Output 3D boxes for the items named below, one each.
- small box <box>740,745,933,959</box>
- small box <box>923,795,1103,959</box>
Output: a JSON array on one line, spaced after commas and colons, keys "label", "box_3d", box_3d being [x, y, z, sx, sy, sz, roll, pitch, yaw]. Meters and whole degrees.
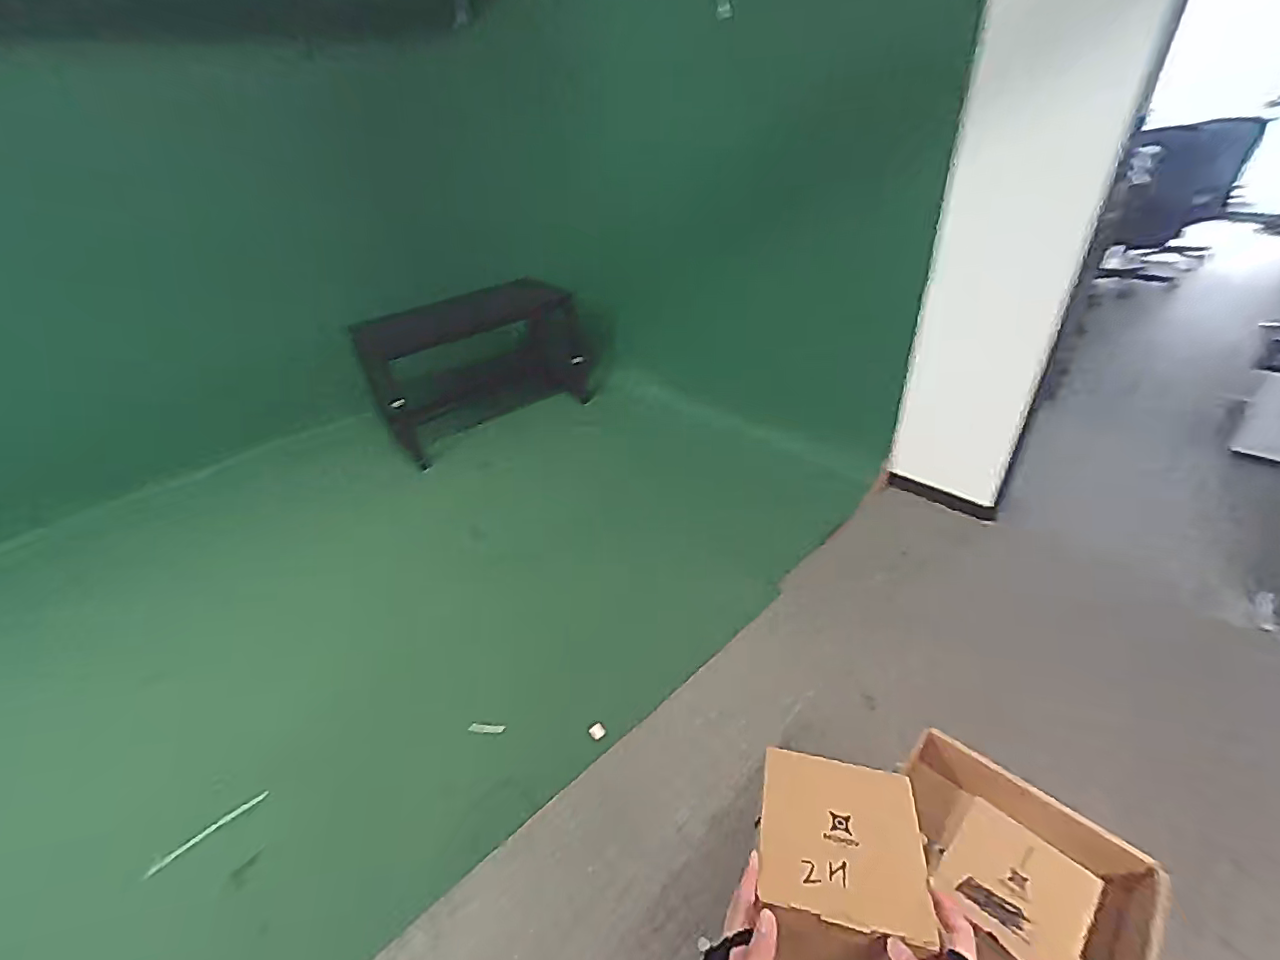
[{"label": "small box", "box_3d": [0.205, 0.443, 0.607, 0.168, 0.176, 0.179, 5, 27, 13]}, {"label": "small box", "box_3d": [0.520, 0.619, 0.787, 0.179, 0.176, 0.168, -30, 42, -32]}]
